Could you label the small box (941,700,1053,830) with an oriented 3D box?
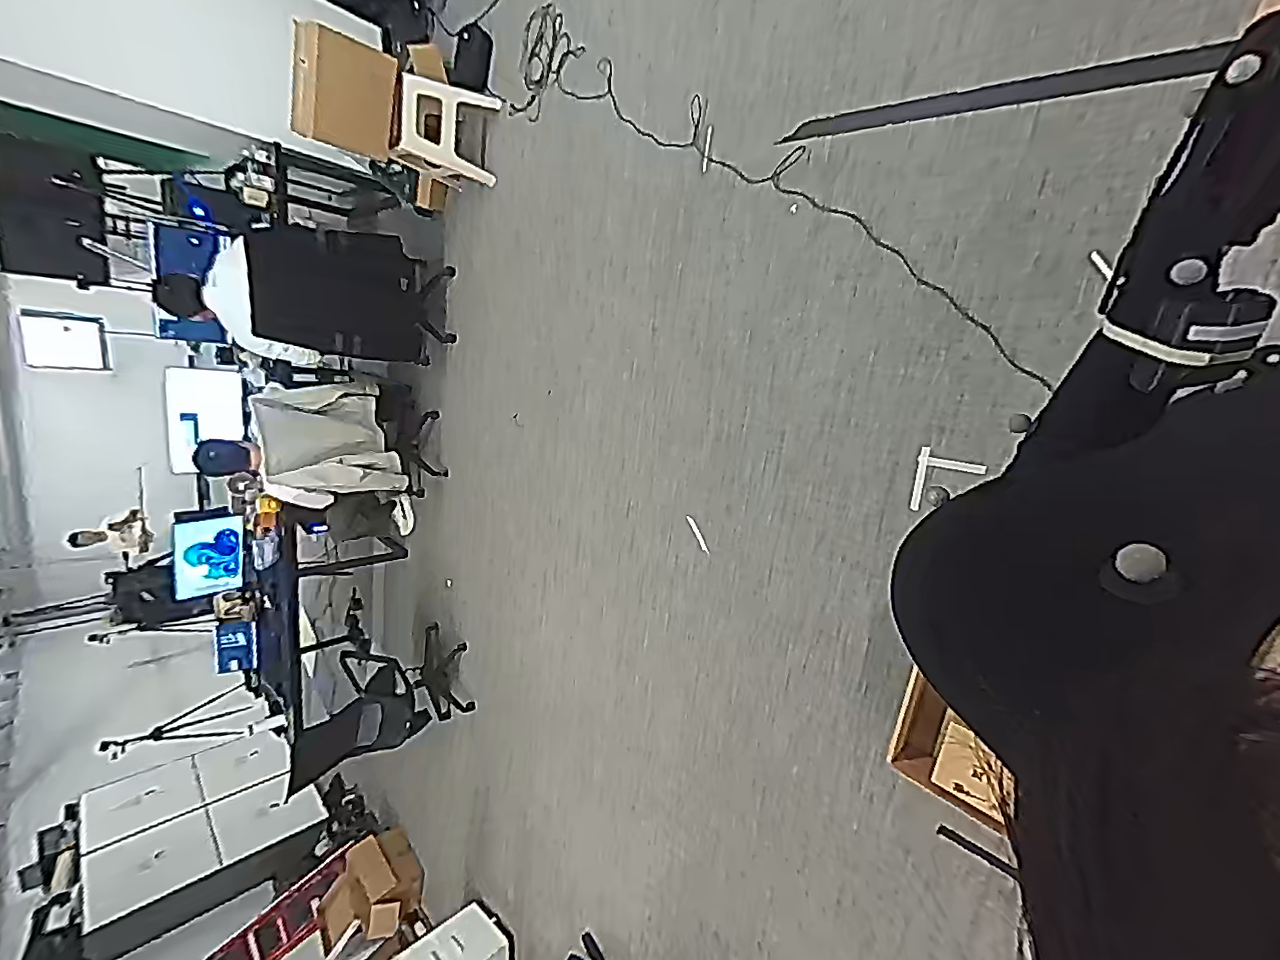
[{"bbox_3d":[0.831,0.647,1.255,0.168,0.176,0.179,21,108,41],"label":"small box"}]
